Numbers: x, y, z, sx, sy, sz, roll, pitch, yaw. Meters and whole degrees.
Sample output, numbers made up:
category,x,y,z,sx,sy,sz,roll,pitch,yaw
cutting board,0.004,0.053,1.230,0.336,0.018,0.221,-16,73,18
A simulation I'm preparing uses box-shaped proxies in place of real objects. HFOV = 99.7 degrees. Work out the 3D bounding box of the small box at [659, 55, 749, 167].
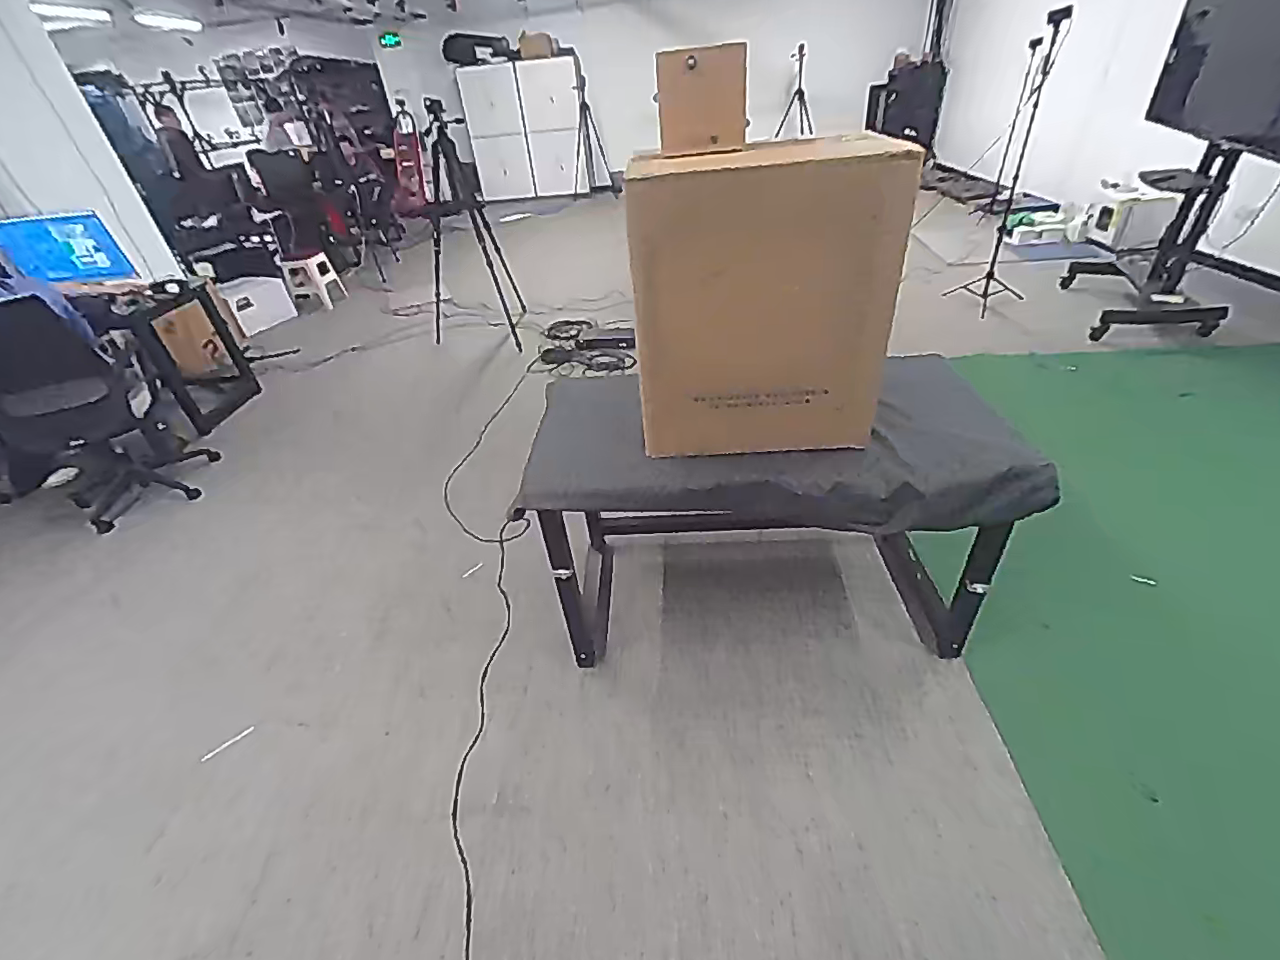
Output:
category,x,y,z,sx,sy,sz,roll,pitch,yaw
small box,0.128,-0.740,1.097,0.168,0.176,0.179,-3,34,6
